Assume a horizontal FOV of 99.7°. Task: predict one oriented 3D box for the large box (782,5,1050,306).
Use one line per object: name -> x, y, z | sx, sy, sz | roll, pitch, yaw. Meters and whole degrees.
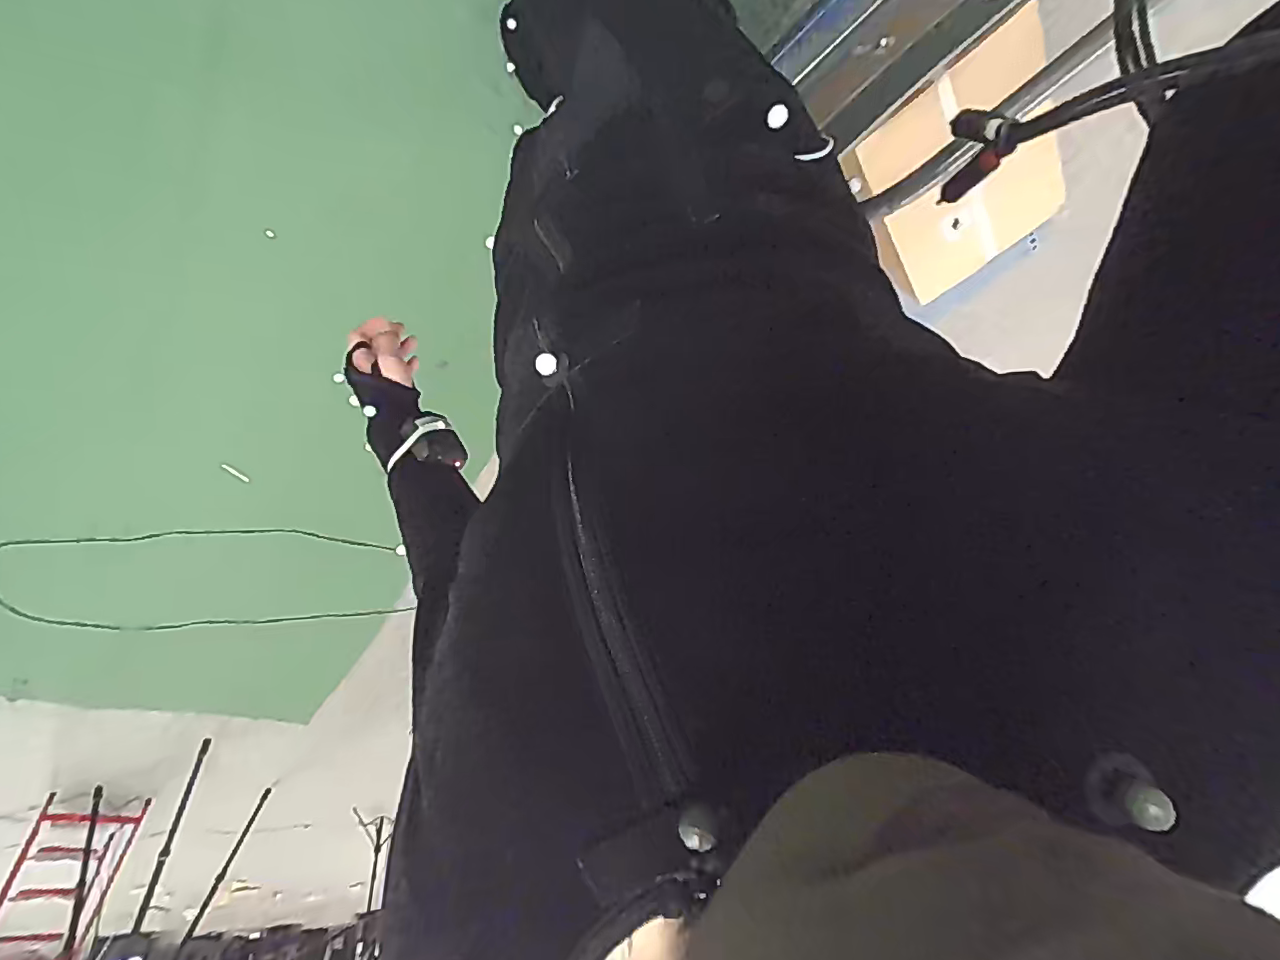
large box -> 0.563, -0.659, 1.124 | 0.320, 0.320, 0.408 | -35, 132, 19
